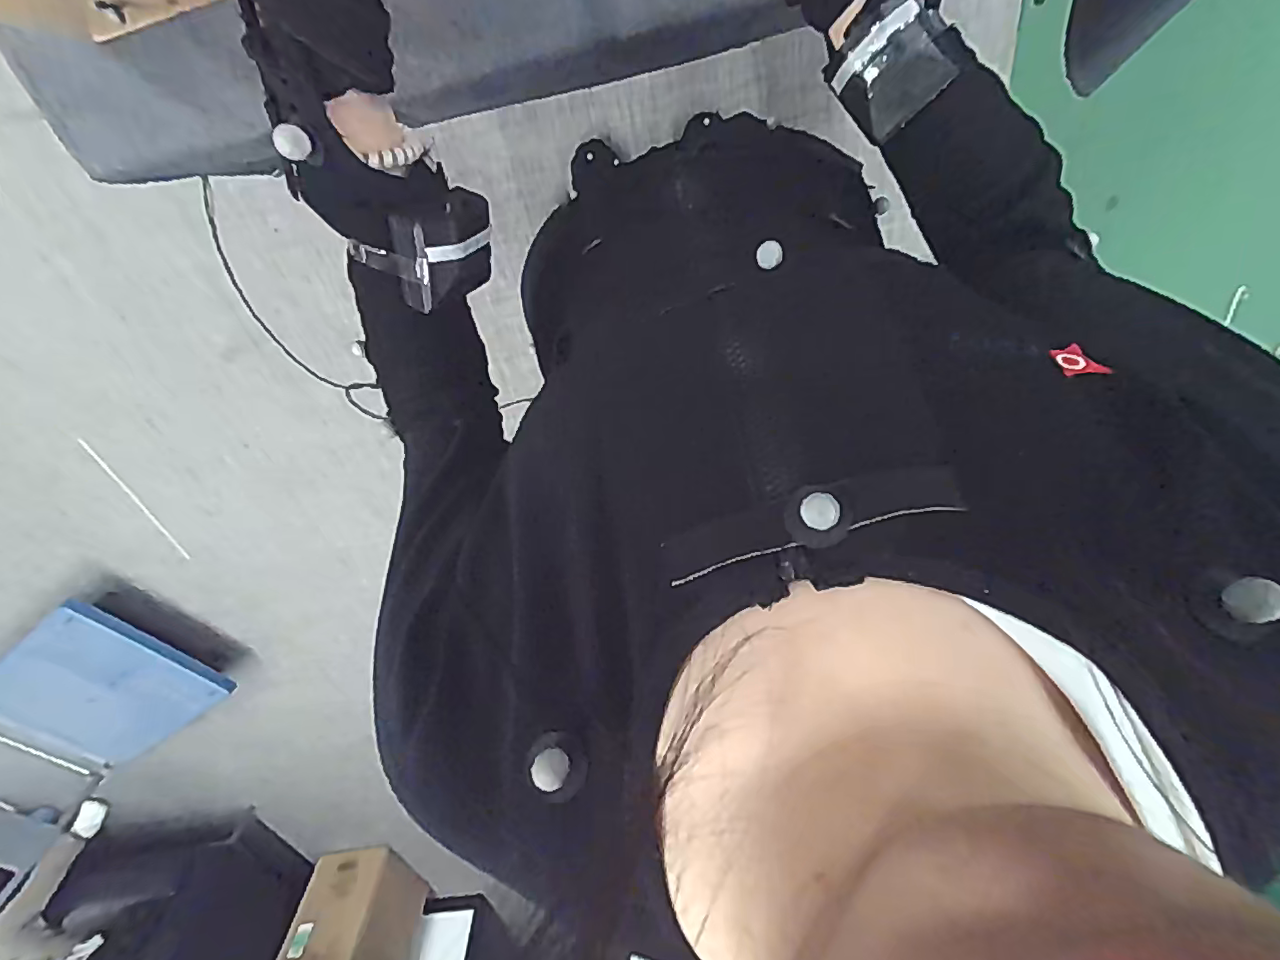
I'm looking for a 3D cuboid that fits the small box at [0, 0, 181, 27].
[{"bbox_3d":[-0.459,-0.467,0.387,0.168,0.176,0.179,-12,123,7],"label":"small box"}]
